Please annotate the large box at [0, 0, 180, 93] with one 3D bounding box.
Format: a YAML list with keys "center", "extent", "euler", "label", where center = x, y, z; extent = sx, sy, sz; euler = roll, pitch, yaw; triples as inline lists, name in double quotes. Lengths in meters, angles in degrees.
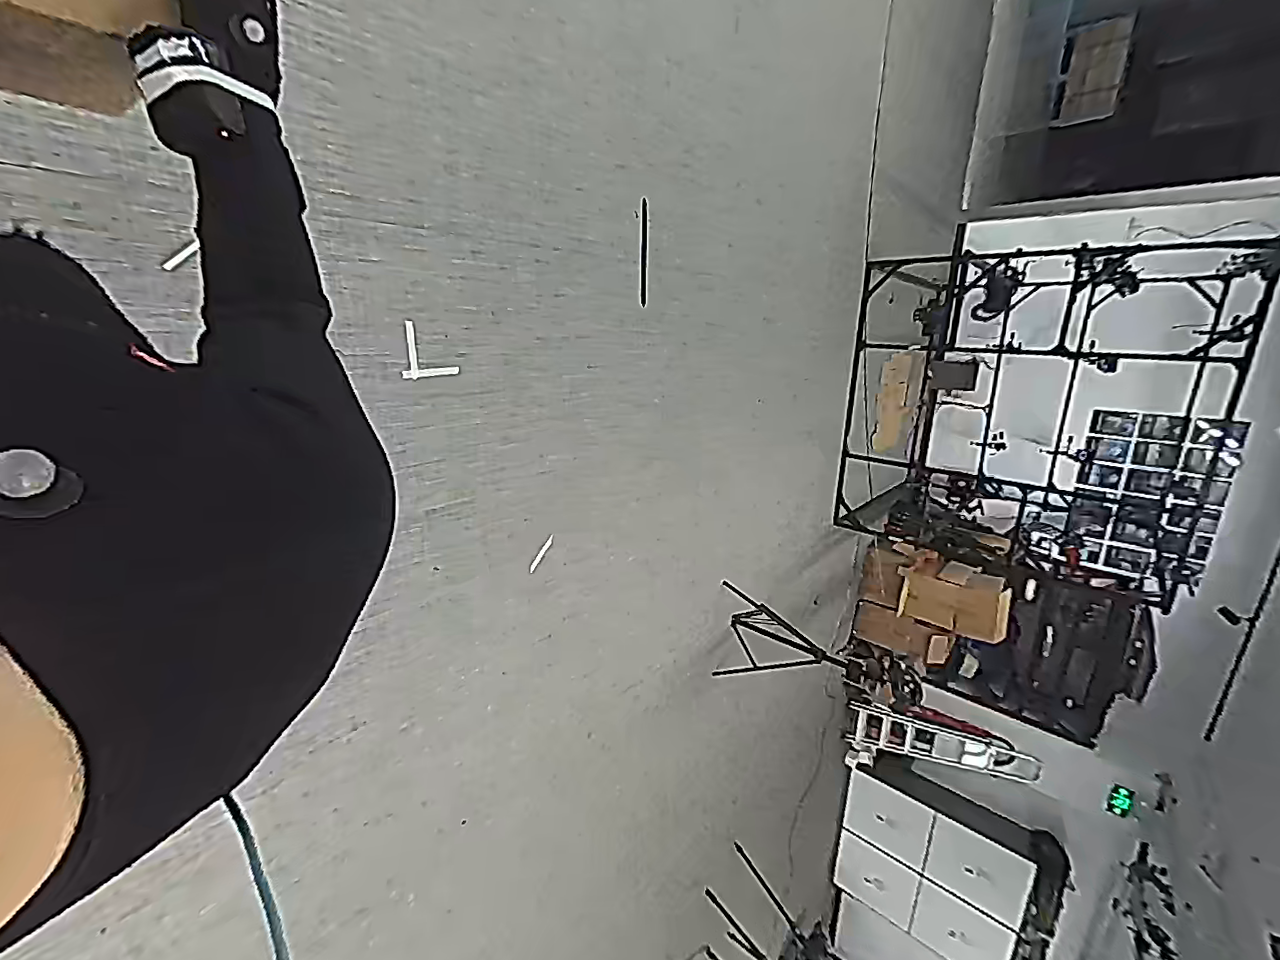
- center: [-0.570, -0.473, 0.295]
  extent: [0.408, 0.320, 0.320]
  euler: [-16, 119, -48]
  label: "large box"
